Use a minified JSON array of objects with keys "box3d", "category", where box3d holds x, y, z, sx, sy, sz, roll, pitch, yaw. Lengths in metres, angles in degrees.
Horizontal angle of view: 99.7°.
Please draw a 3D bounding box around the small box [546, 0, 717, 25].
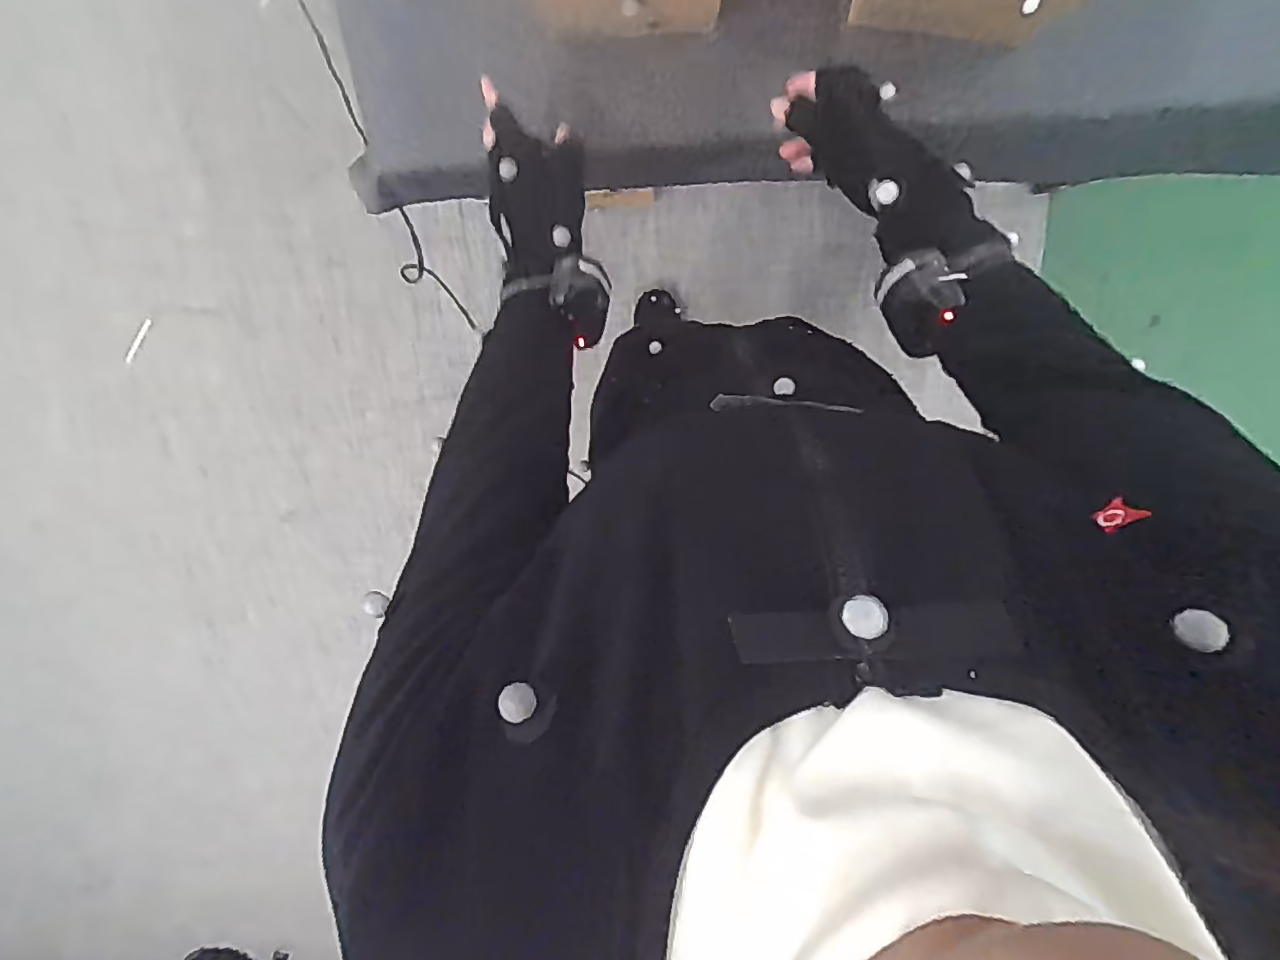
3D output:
[{"box3d":[-0.011,-0.508,0.441,0.168,0.176,0.179,-2,108,2],"category":"small box"}]
